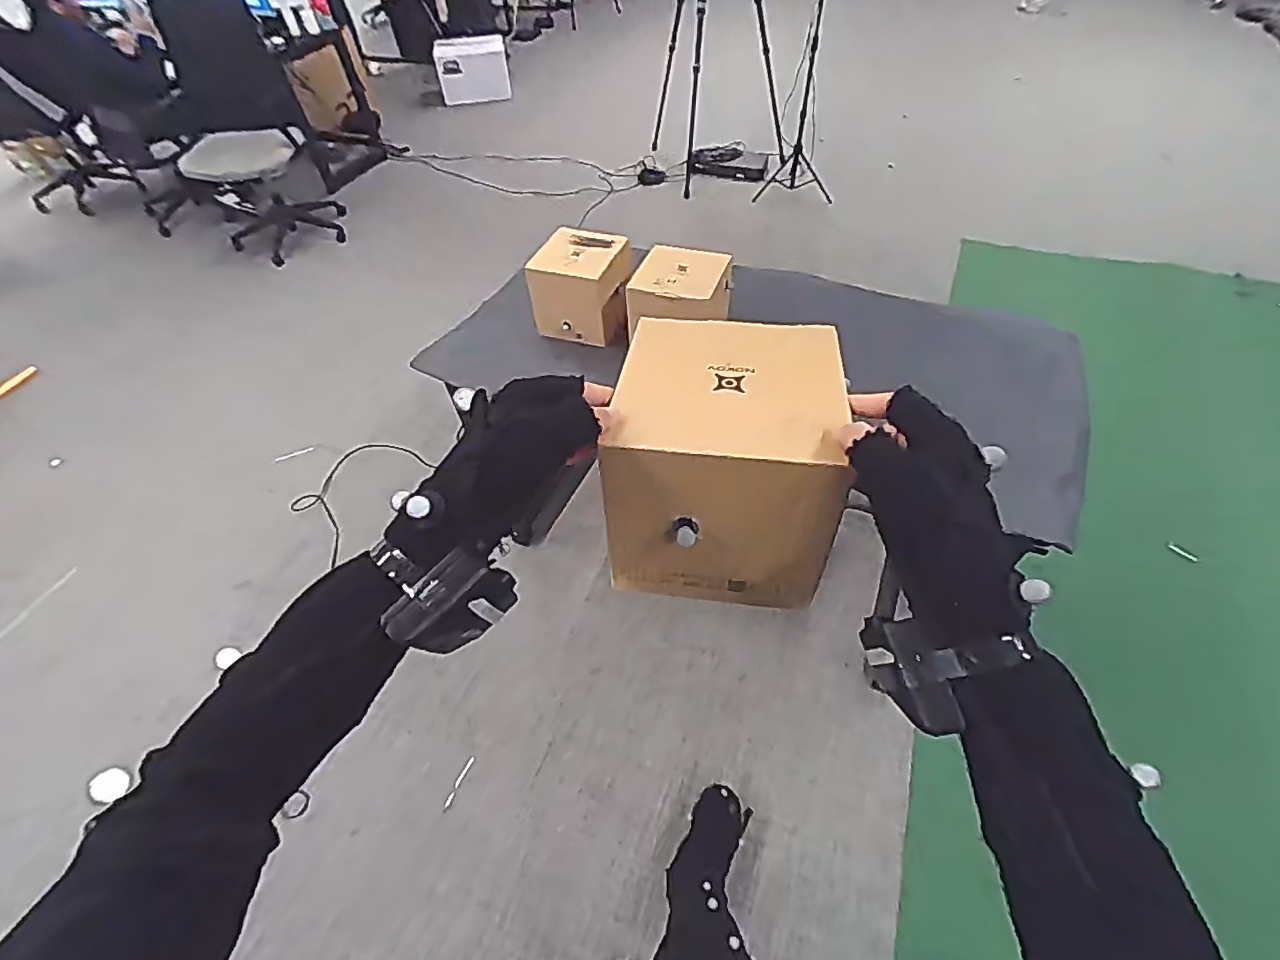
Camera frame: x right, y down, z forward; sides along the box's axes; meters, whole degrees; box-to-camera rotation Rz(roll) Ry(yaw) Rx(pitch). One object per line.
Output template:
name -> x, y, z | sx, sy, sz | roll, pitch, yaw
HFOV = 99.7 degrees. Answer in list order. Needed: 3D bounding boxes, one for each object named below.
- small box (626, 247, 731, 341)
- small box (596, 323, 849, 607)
small box -> 0.080, -0.349, 1.116 | 0.168, 0.176, 0.179 | 15, 53, 15
small box -> 0.068, -0.014, 0.458 | 0.168, 0.176, 0.179 | 5, 44, 8
